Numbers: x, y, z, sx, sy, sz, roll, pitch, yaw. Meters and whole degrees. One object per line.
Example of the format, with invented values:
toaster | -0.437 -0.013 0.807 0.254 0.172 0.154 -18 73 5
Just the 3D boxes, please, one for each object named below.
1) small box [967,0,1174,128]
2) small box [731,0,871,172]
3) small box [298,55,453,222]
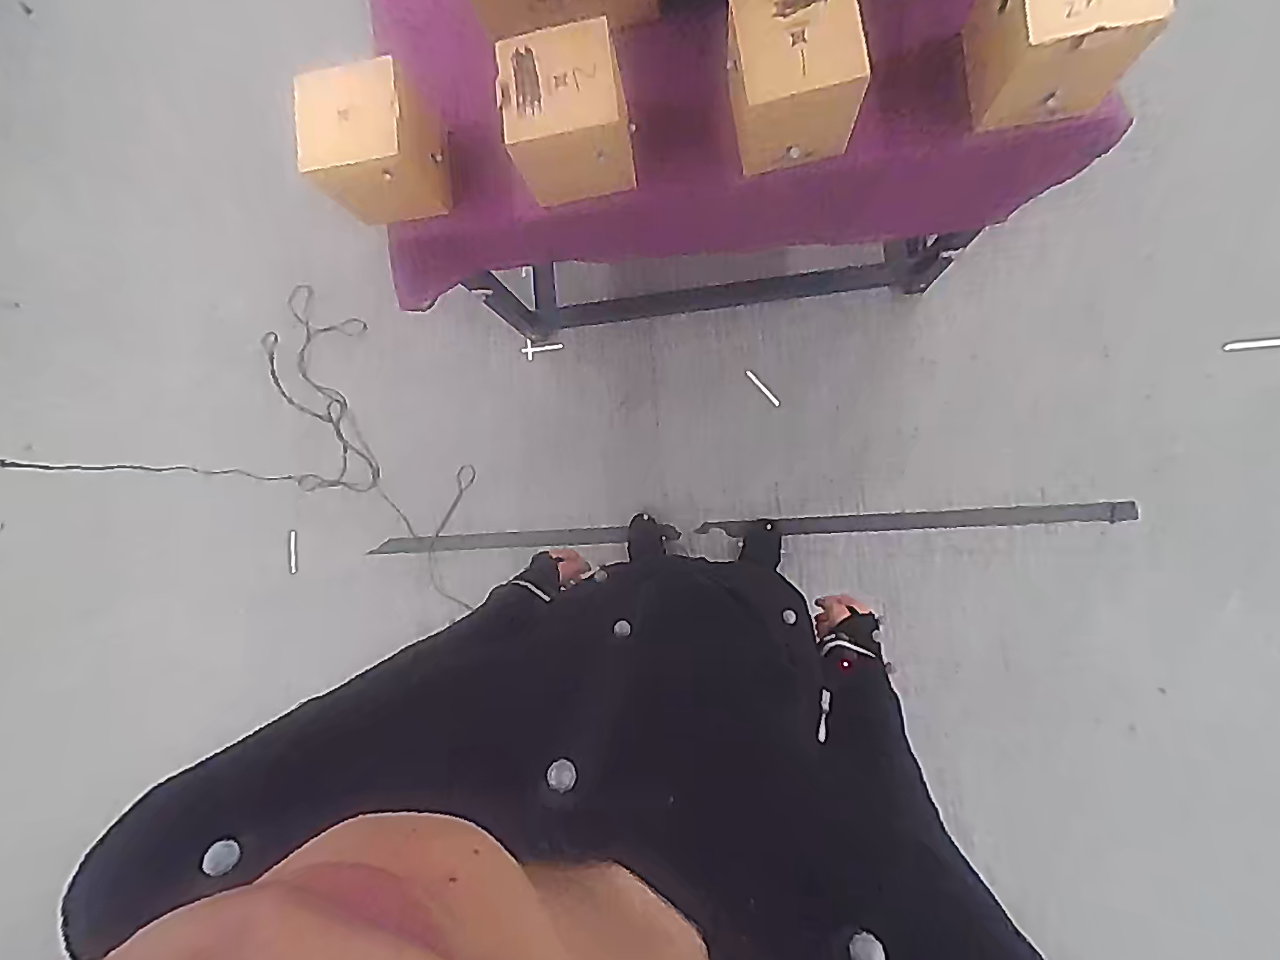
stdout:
small box | 0.585 -0.645 0.761 0.168 0.176 0.179 -4 87 10
small box | 0.231 -0.611 0.818 0.168 0.176 0.179 -9 87 9
small box | -0.443 -0.567 0.923 0.179 0.176 0.168 -5 86 8
